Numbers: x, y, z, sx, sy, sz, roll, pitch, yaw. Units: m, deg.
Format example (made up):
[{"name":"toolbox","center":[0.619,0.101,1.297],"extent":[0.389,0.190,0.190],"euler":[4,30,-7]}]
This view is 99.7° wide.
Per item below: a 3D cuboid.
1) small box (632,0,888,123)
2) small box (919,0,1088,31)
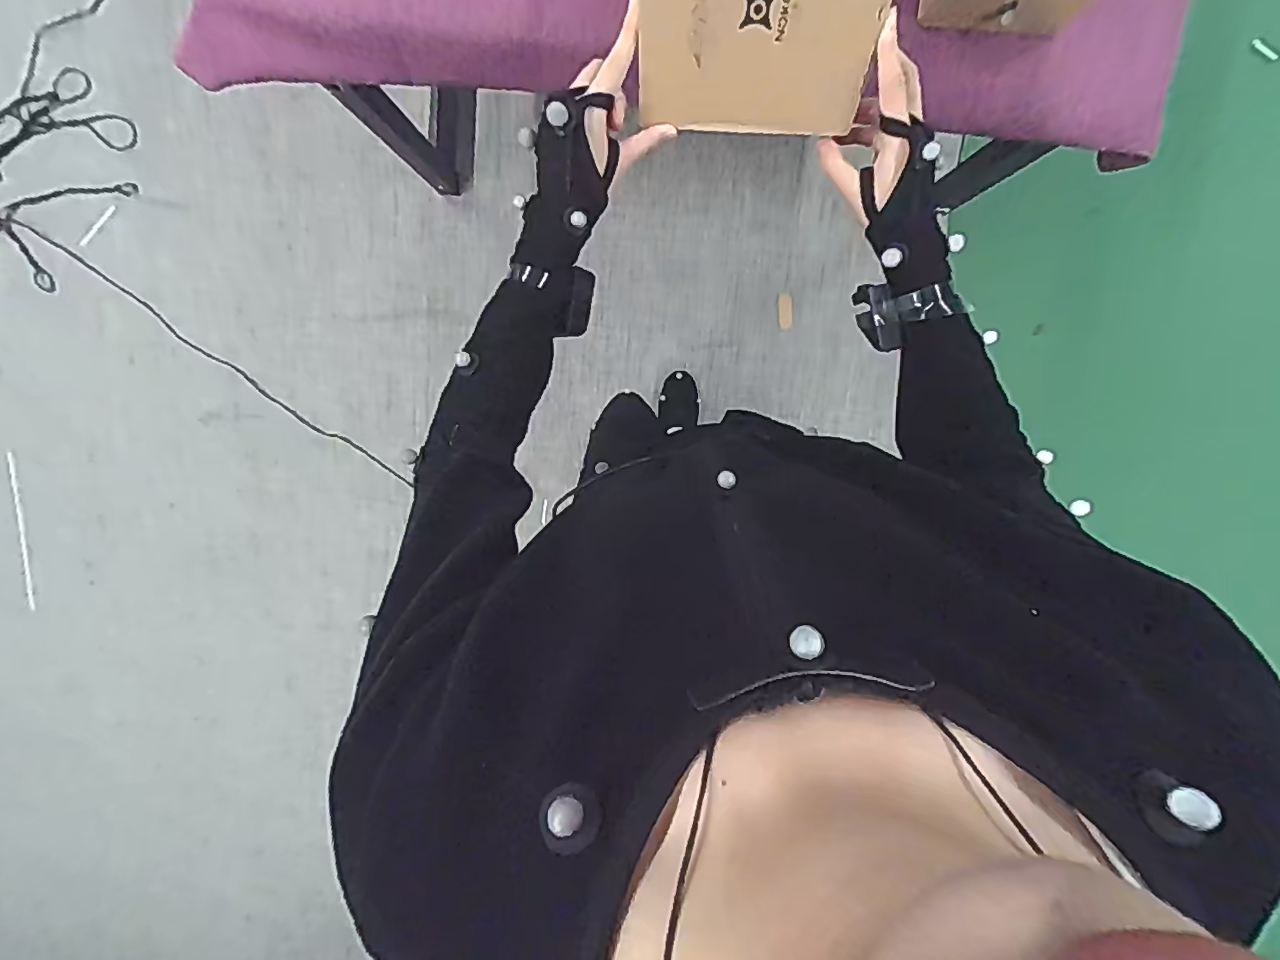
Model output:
[{"name":"small box","center":[0.087,-0.401,0.400],"extent":[0.179,0.168,0.176],"euler":[4,62,2]},{"name":"small box","center":[0.428,-0.616,0.565],"extent":[0.179,0.176,0.168],"euler":[5,97,1]}]
